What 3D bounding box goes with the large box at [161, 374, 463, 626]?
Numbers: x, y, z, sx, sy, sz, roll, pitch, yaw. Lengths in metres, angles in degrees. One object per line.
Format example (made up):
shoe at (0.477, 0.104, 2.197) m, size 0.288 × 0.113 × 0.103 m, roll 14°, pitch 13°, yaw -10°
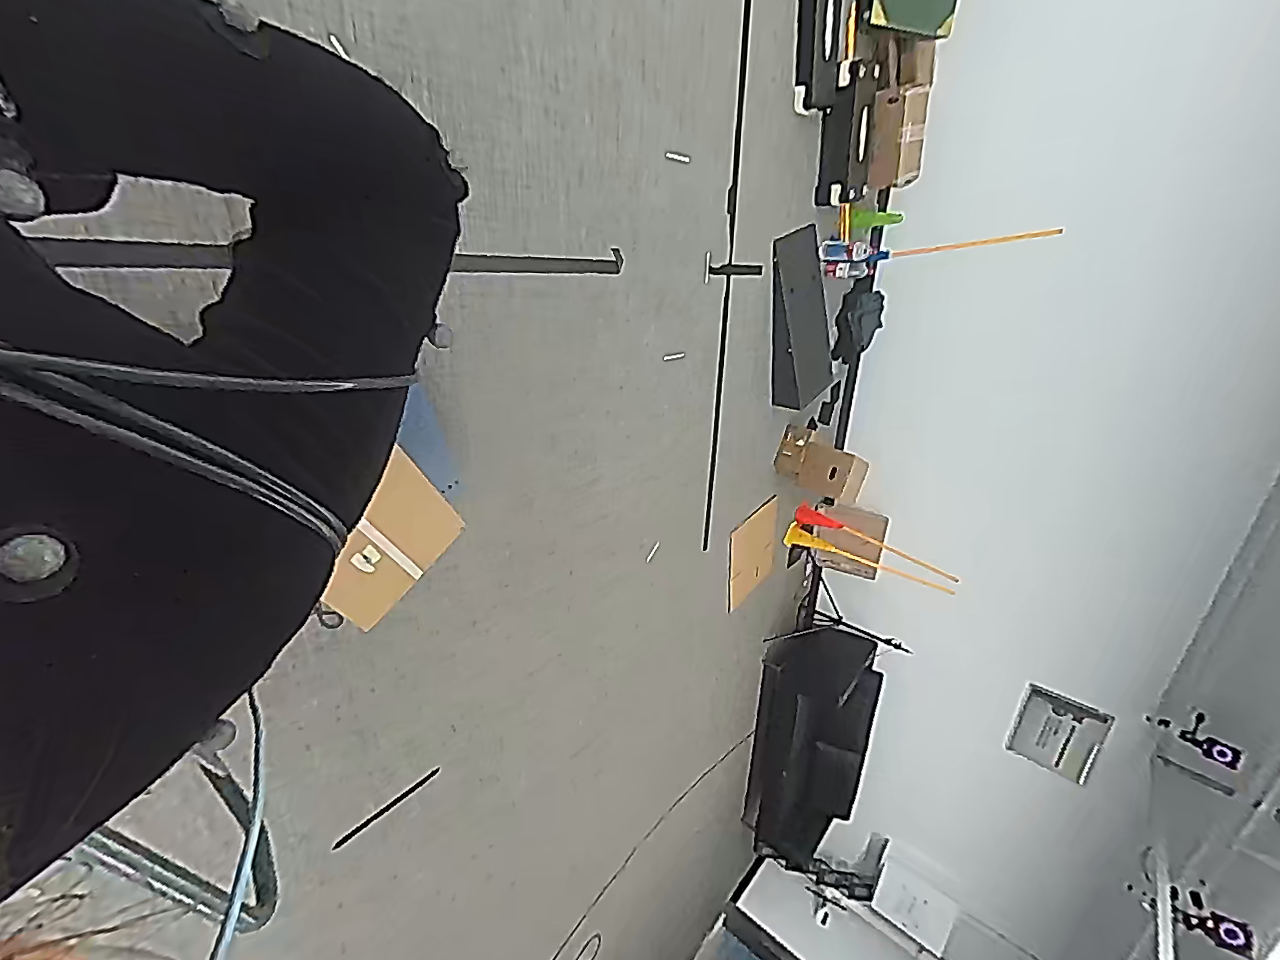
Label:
large box at (-0.676, 0.038, 1.161) m, size 0.320 × 0.320 × 0.408 m, roll -50°, pitch 140°, yaw -25°
